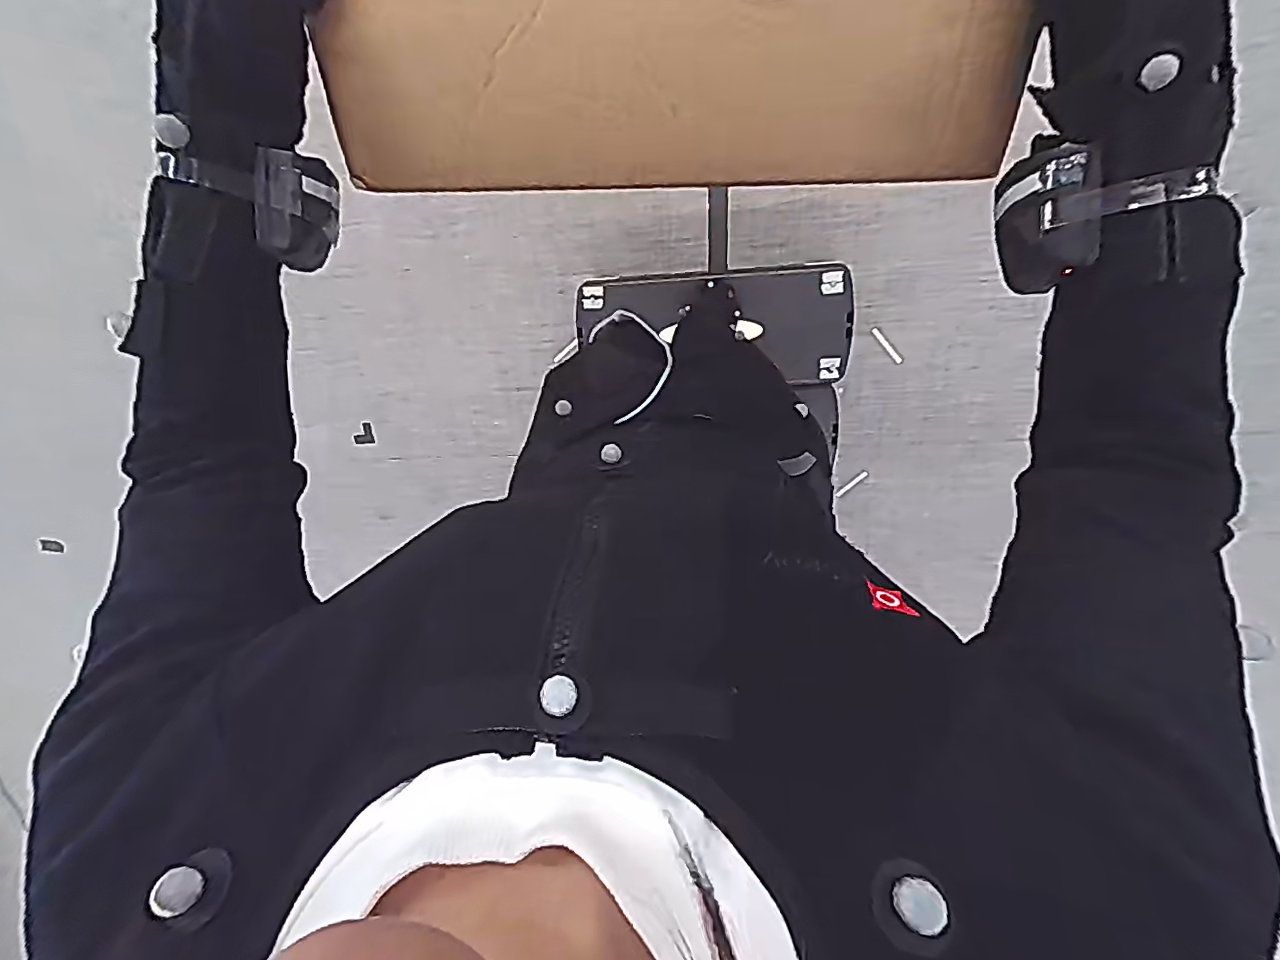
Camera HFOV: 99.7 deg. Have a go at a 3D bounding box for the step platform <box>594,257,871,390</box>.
[{"bbox_3d":[0.224,-0.396,1.393,0.684,0.204,0.286,-2,110,8],"label":"step platform"}]

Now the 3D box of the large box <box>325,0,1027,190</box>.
[{"bbox_3d":[0.021,-0.407,0.395,0.408,0.320,0.320,1,123,5],"label":"large box"}]
